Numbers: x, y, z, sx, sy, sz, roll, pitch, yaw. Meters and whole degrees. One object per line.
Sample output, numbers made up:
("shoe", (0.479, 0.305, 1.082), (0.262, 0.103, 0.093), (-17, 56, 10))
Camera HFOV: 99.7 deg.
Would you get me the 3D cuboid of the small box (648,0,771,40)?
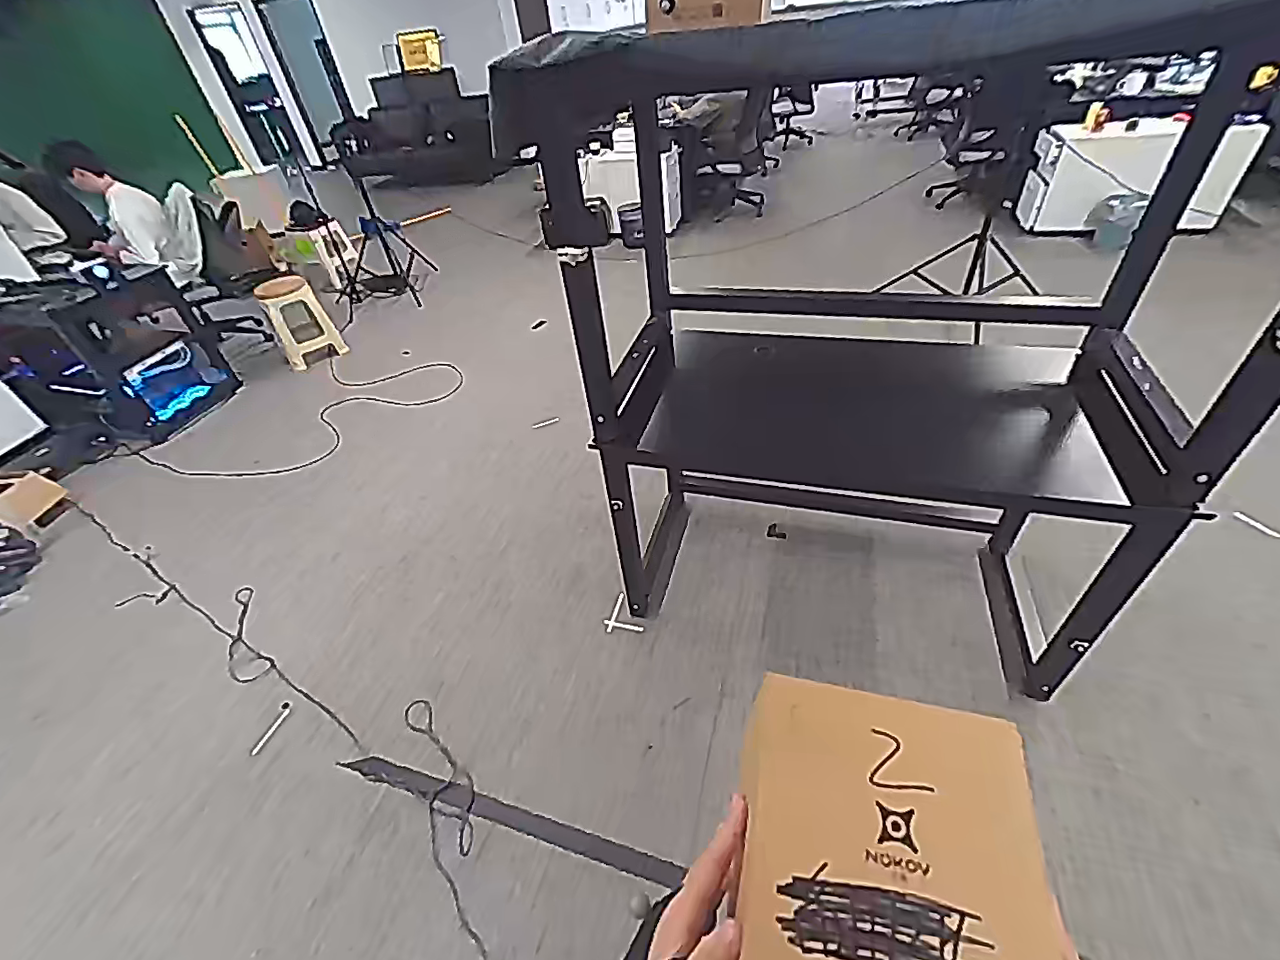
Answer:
("small box", (0.104, -0.744, 0.771), (0.168, 0.176, 0.179), (7, 41, 14))
